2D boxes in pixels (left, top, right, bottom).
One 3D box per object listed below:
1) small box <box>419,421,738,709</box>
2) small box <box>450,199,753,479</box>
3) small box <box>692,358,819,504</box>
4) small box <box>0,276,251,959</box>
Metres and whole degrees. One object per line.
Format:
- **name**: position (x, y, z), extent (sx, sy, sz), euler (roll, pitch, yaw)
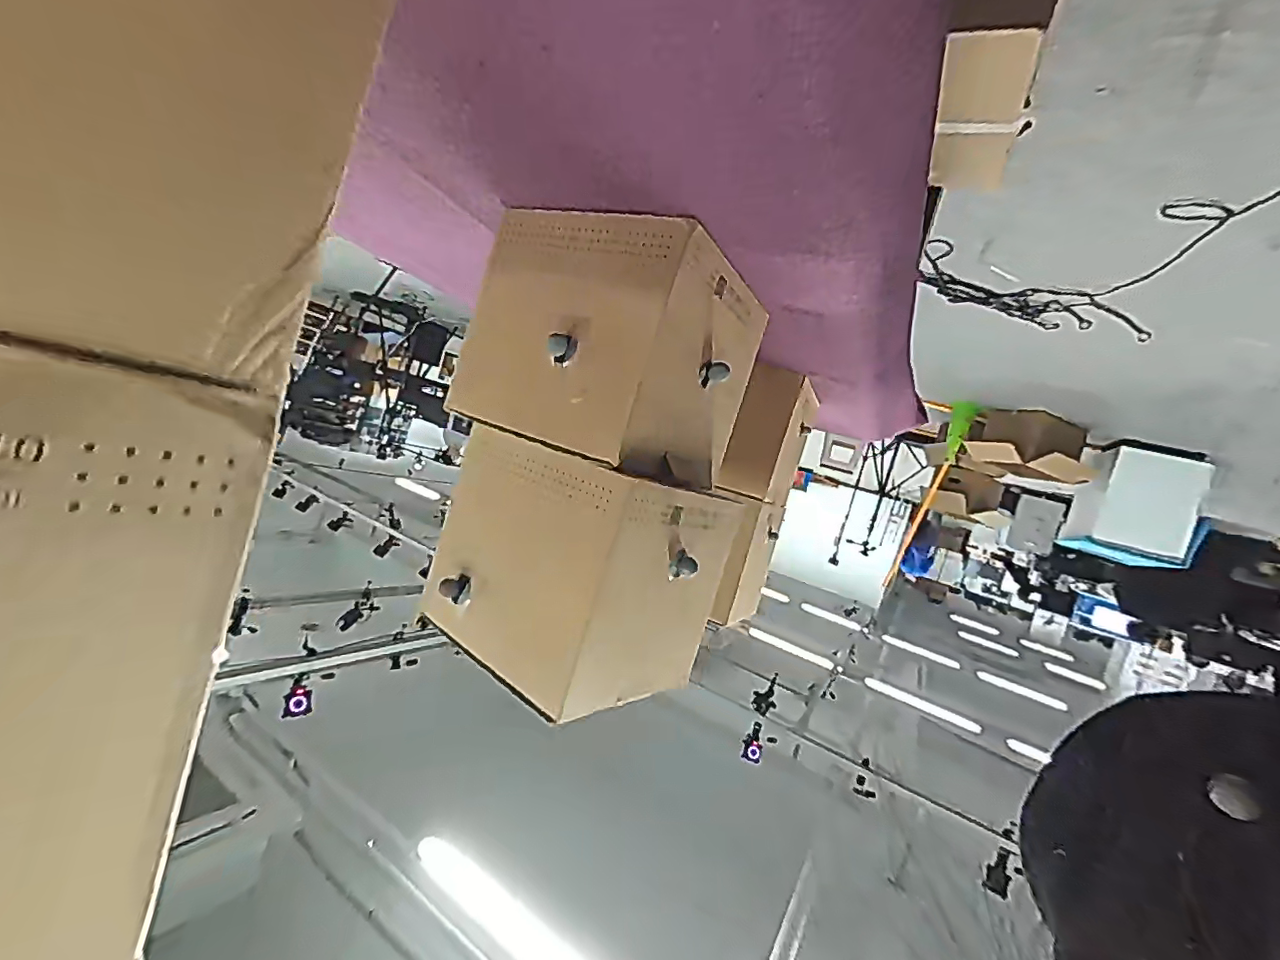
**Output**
- **small box**: position (-0.046, 0.055, 0.450), extent (0.179, 0.176, 0.168), euler (19, -177, 37)
- **small box**: position (-0.020, -0.110, 0.449), extent (0.179, 0.176, 0.168), euler (18, -178, 31)
- **small box**: position (0.136, -0.075, 0.767), extent (0.179, 0.176, 0.168), euler (17, -179, 25)
- **small box**: position (-0.222, 0.012, 0.114), extent (0.179, 0.176, 0.168), euler (19, -176, 29)
